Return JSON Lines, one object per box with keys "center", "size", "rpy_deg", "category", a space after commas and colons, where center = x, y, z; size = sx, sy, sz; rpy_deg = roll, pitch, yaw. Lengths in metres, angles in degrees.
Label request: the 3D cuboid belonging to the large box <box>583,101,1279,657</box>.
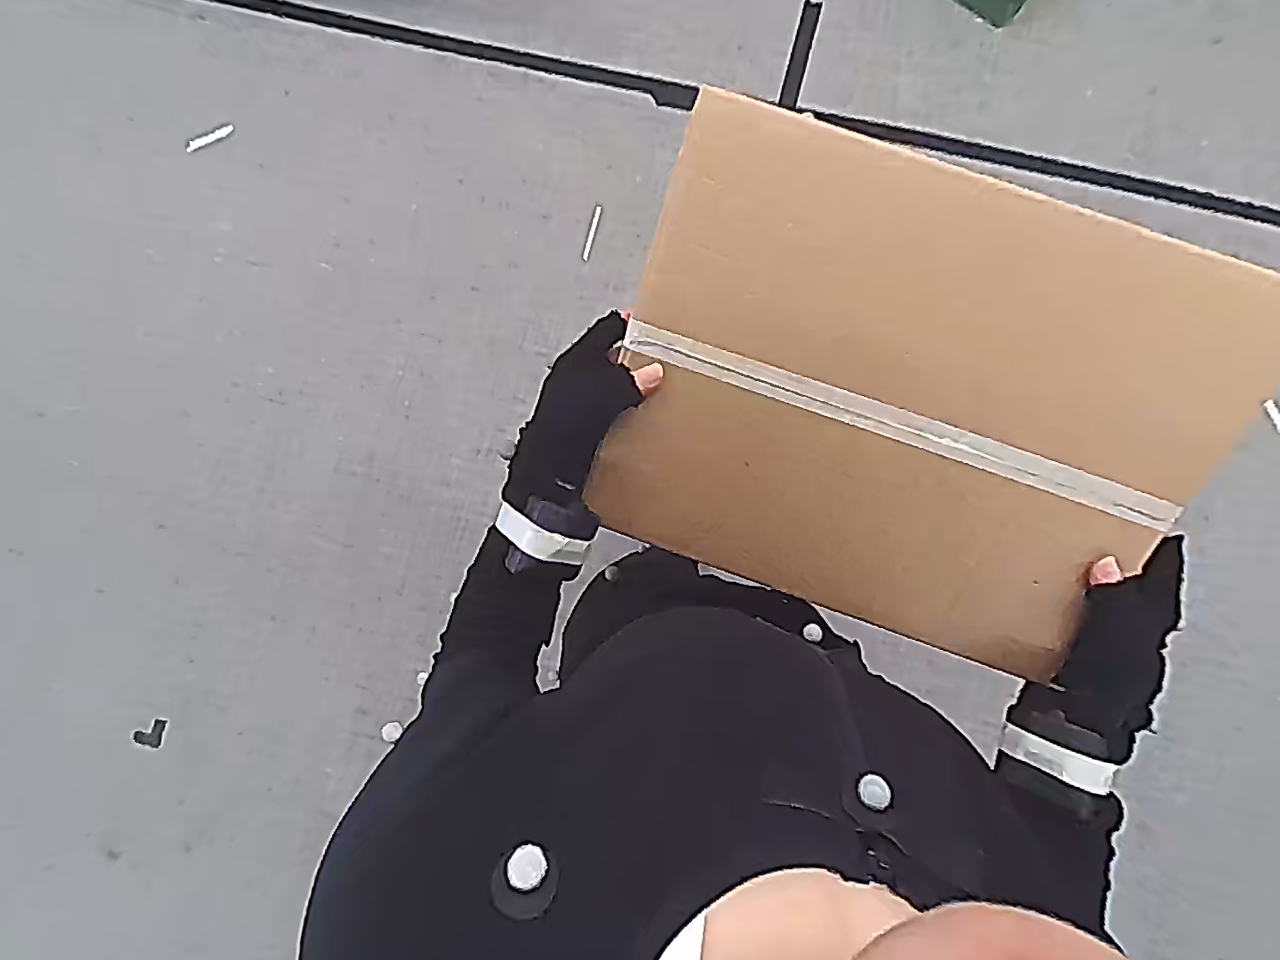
{"center": [0.200, -0.100, 0.534], "size": [0.408, 0.320, 0.320], "rpy_deg": [20, 113, 1], "category": "large box"}
